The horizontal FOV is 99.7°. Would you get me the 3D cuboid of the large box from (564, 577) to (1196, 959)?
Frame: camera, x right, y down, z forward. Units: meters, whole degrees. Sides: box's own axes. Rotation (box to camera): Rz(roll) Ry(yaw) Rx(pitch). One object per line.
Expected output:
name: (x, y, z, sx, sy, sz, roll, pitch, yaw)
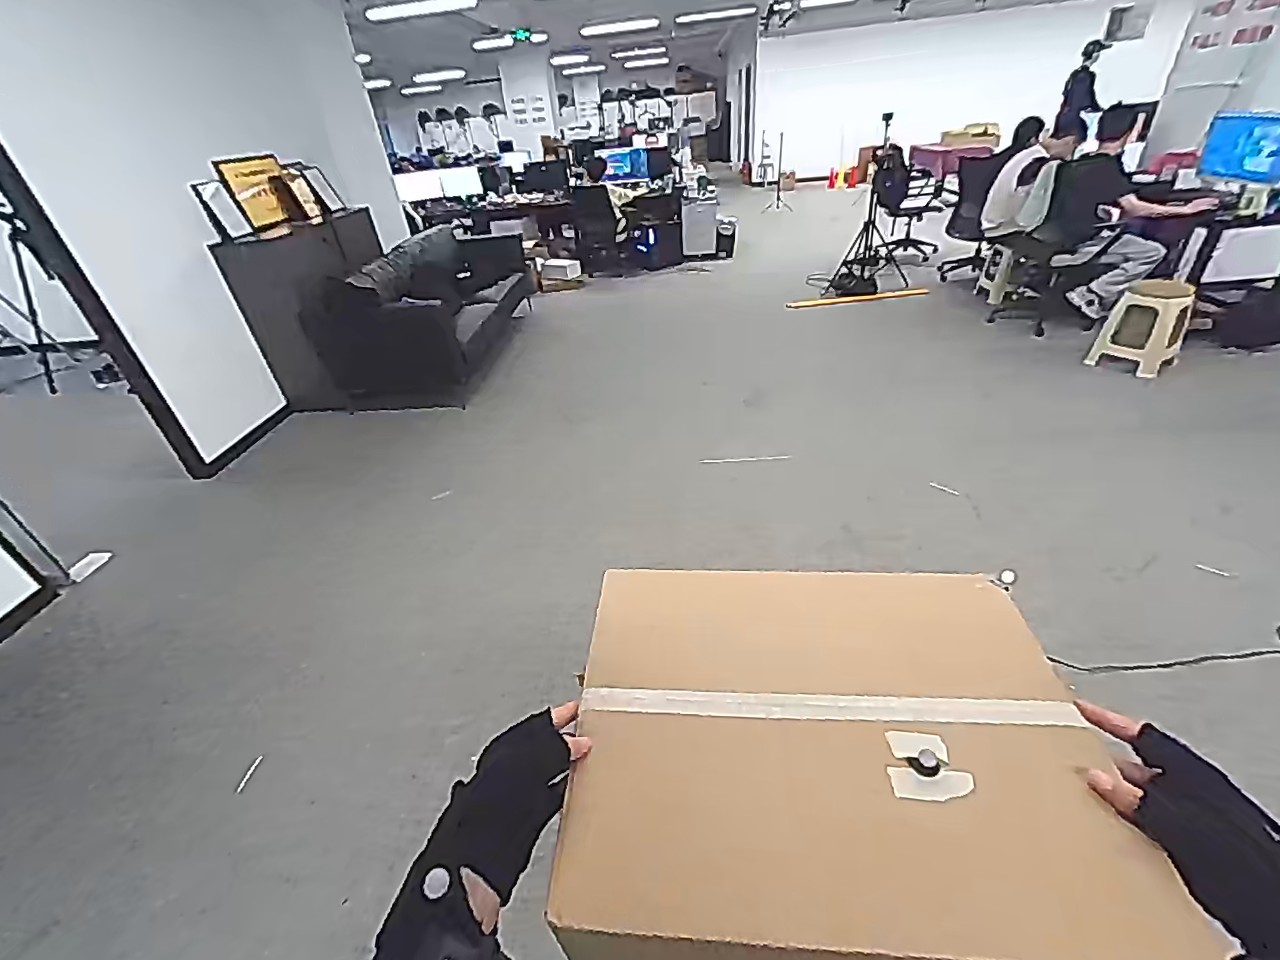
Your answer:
large box: (0.163, 0.317, 0.552, 0.408, 0.320, 0.320, -1, 37, 6)
